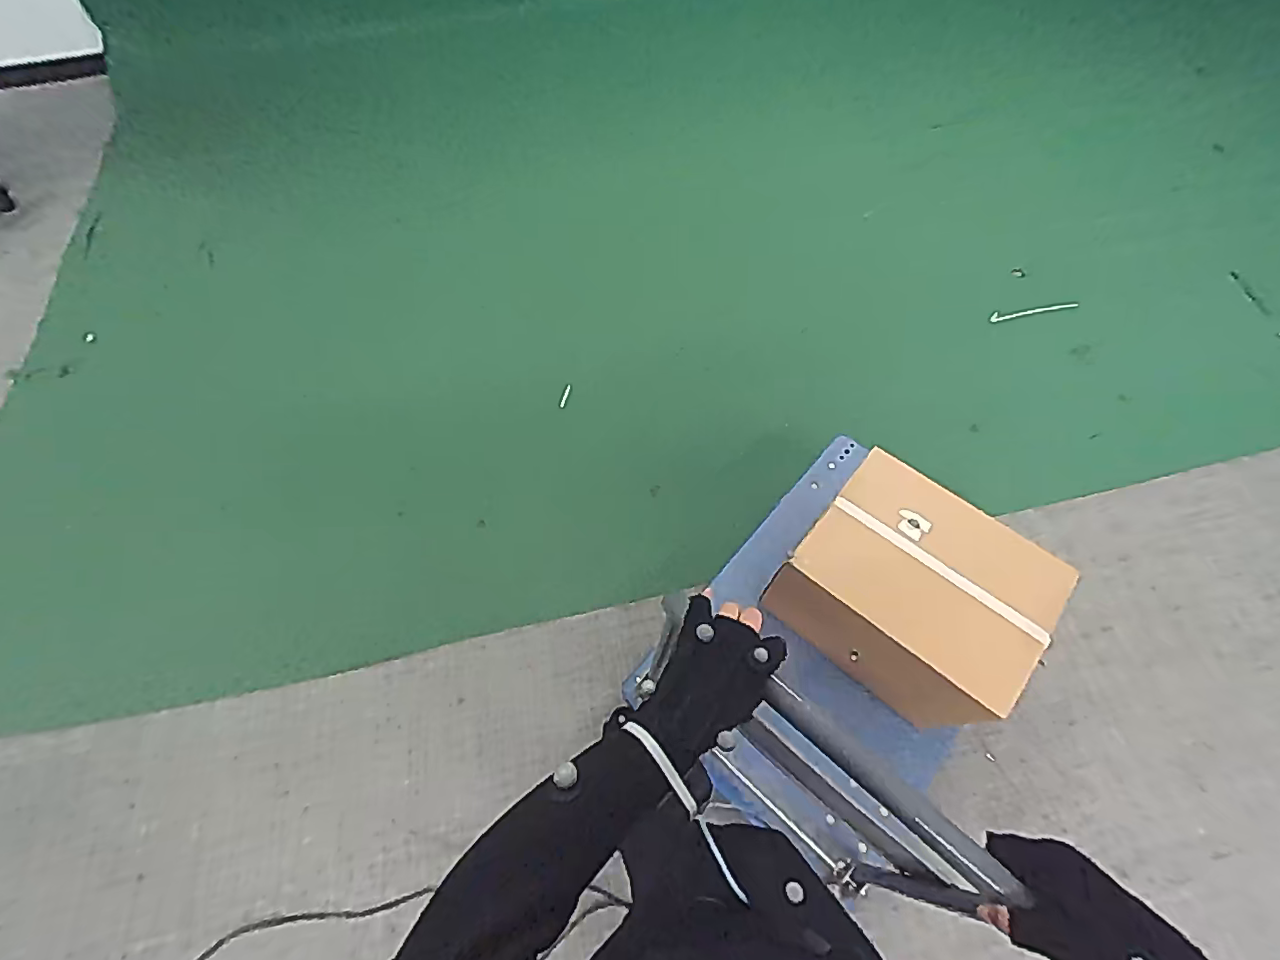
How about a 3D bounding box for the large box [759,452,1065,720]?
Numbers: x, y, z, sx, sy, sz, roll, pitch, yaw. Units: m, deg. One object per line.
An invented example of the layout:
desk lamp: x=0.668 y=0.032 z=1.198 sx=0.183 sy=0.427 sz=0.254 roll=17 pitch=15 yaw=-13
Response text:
large box: x=0.512 y=0.223 z=1.099 sx=0.408 sy=0.320 sz=0.320 roll=37 pitch=69 yaw=18
